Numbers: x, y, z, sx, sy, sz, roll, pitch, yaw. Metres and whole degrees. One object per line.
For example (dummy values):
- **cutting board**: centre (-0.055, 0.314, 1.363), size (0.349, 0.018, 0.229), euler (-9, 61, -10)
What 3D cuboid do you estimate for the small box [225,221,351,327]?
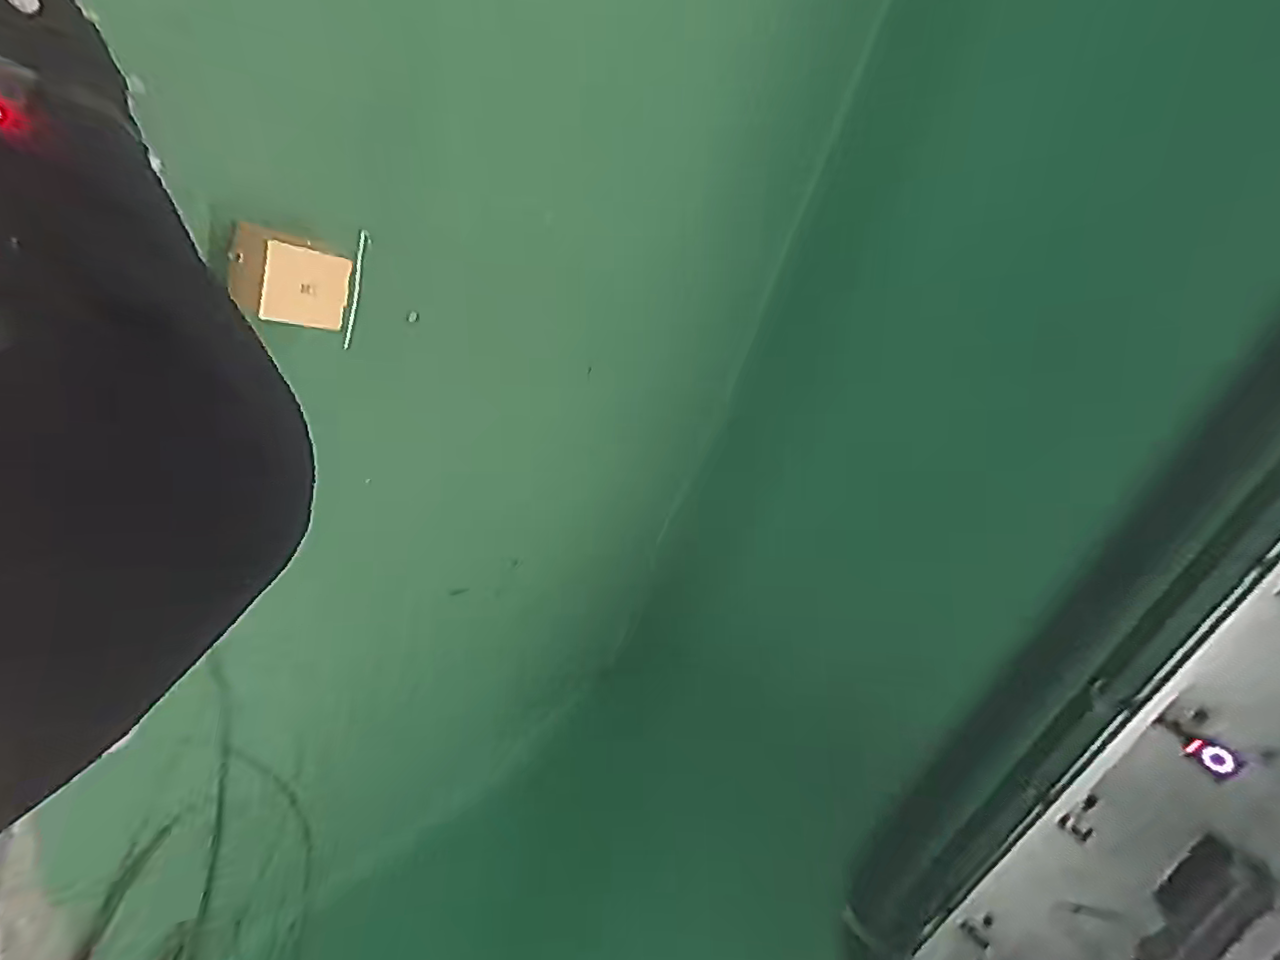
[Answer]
- **small box**: centre (-0.794, -0.462, 1.218), size (0.179, 0.176, 0.168), euler (-8, 124, -55)
